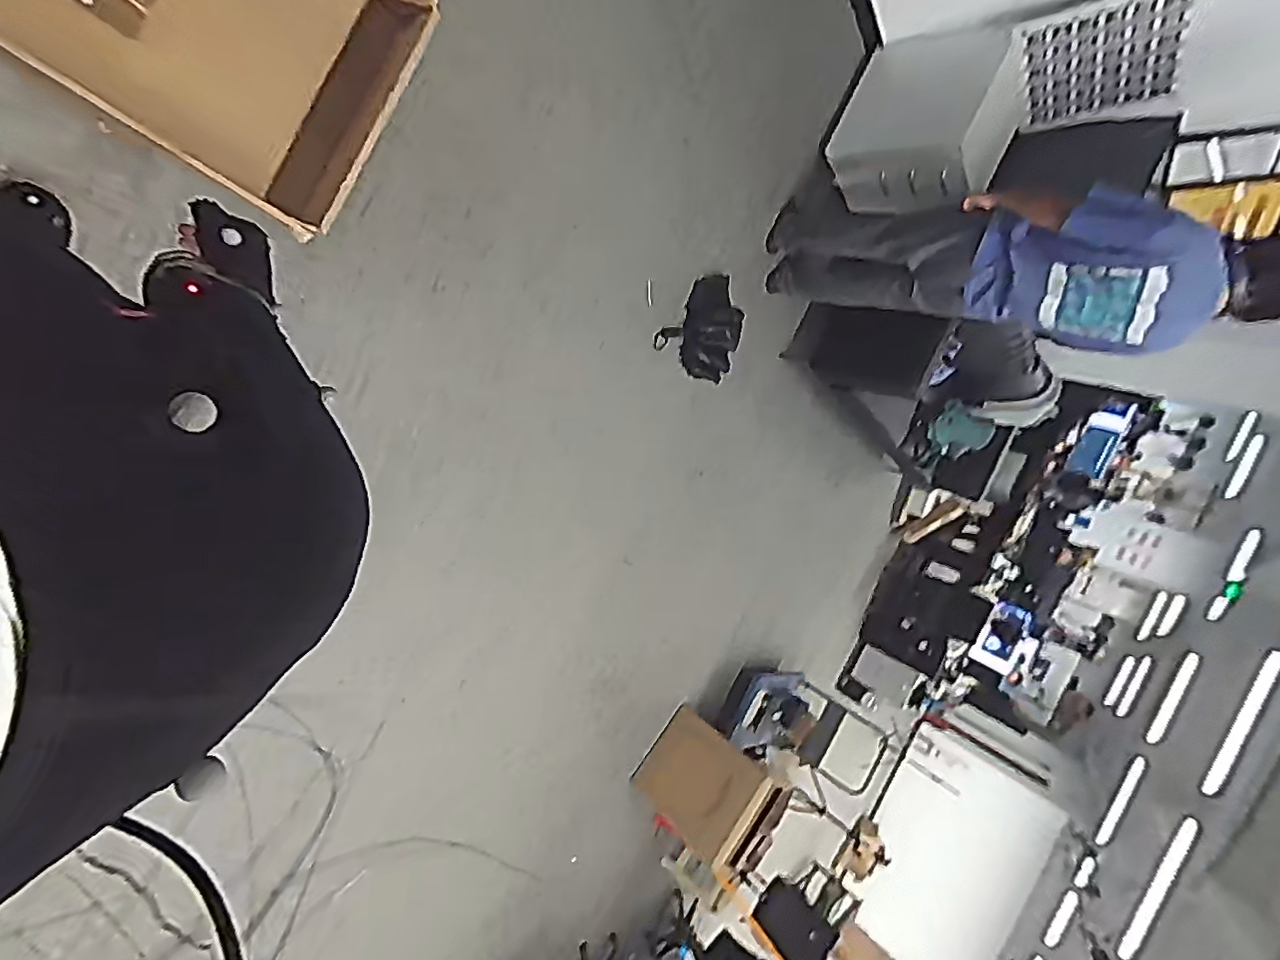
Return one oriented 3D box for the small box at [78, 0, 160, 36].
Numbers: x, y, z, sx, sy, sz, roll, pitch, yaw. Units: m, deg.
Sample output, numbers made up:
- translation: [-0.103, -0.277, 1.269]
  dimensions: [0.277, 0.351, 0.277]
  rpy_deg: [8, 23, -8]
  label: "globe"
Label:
- translation: [-0.594, -0.628, 0.576]
  dimensions: [0.168, 0.176, 0.179]
  rpy_deg: [26, 88, -52]
  label: "small box"
